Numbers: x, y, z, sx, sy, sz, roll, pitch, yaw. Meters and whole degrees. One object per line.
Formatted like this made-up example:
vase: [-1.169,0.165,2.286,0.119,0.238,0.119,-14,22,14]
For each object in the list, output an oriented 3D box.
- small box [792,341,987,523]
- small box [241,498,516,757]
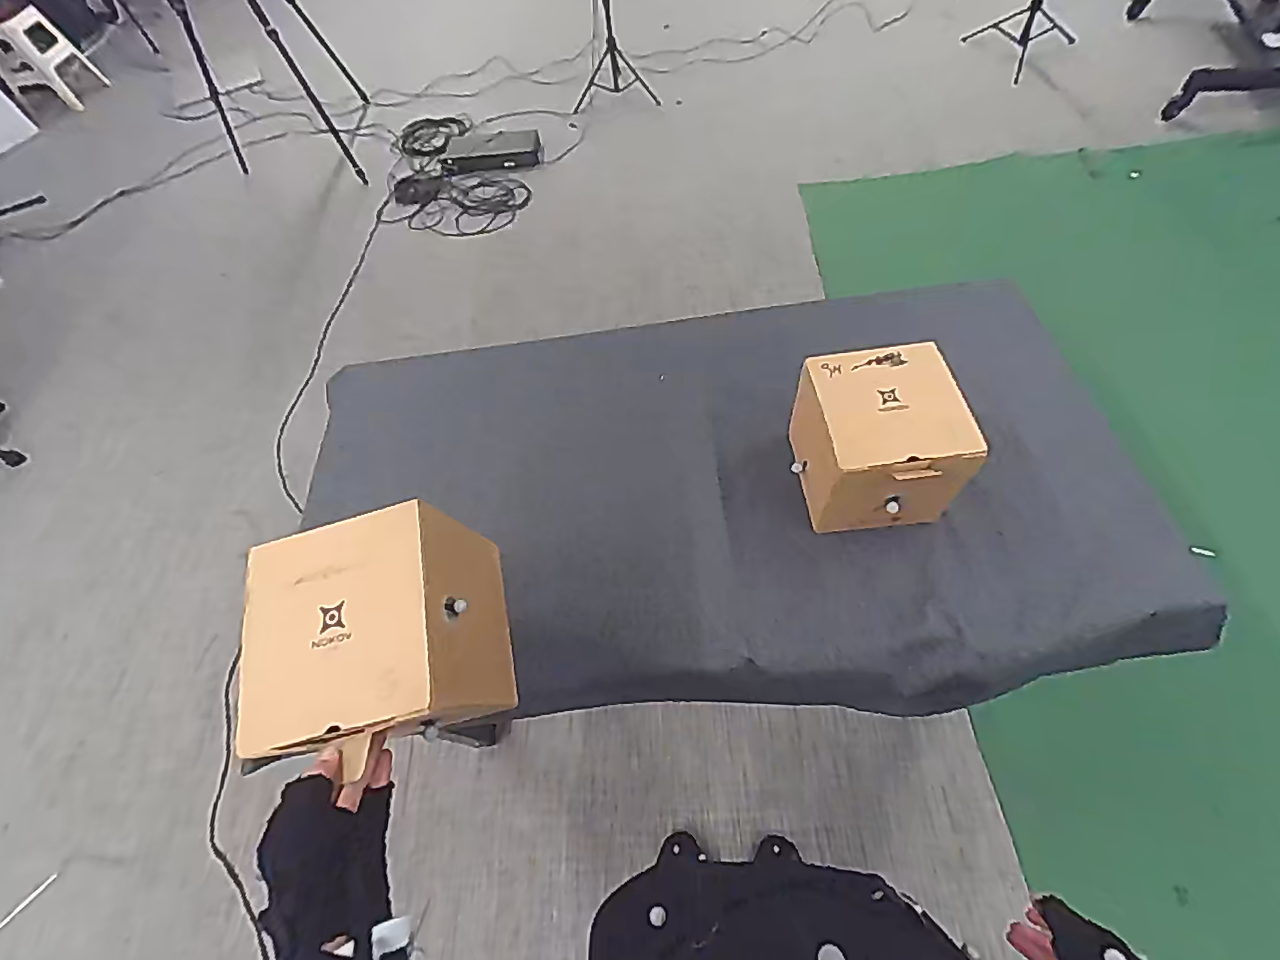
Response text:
small box: [0.308,-0.053,0.713,0.168,0.176,0.179,-6,60,2]
small box: [-0.230,0.141,0.511,0.168,0.176,0.179,-16,66,5]
